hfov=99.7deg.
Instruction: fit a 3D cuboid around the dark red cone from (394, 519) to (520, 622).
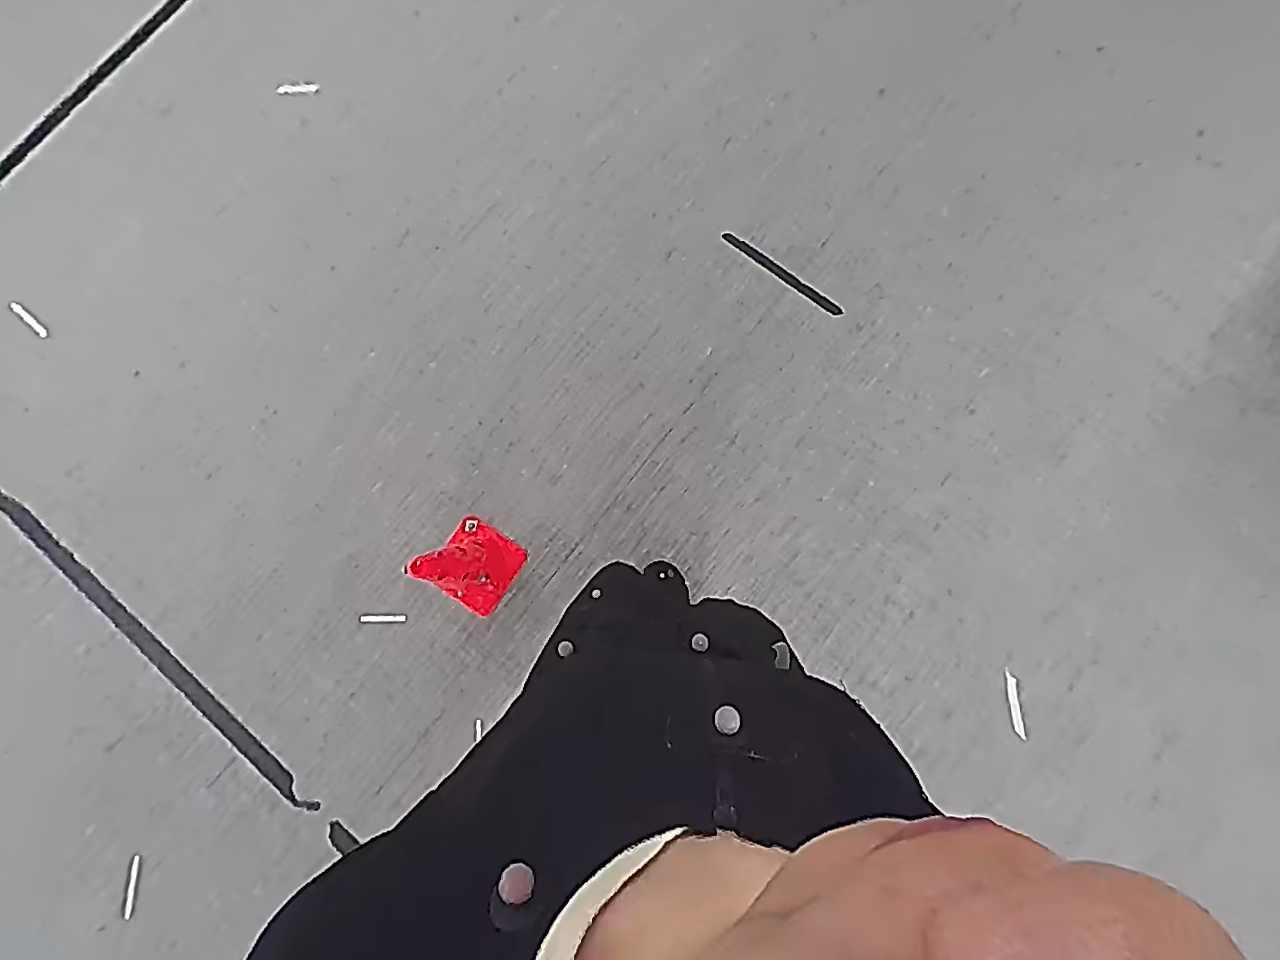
[{"bbox_3d":[-0.428,0.203,1.181,0.202,0.394,0.201,32,85,6],"label":"dark red cone"}]
